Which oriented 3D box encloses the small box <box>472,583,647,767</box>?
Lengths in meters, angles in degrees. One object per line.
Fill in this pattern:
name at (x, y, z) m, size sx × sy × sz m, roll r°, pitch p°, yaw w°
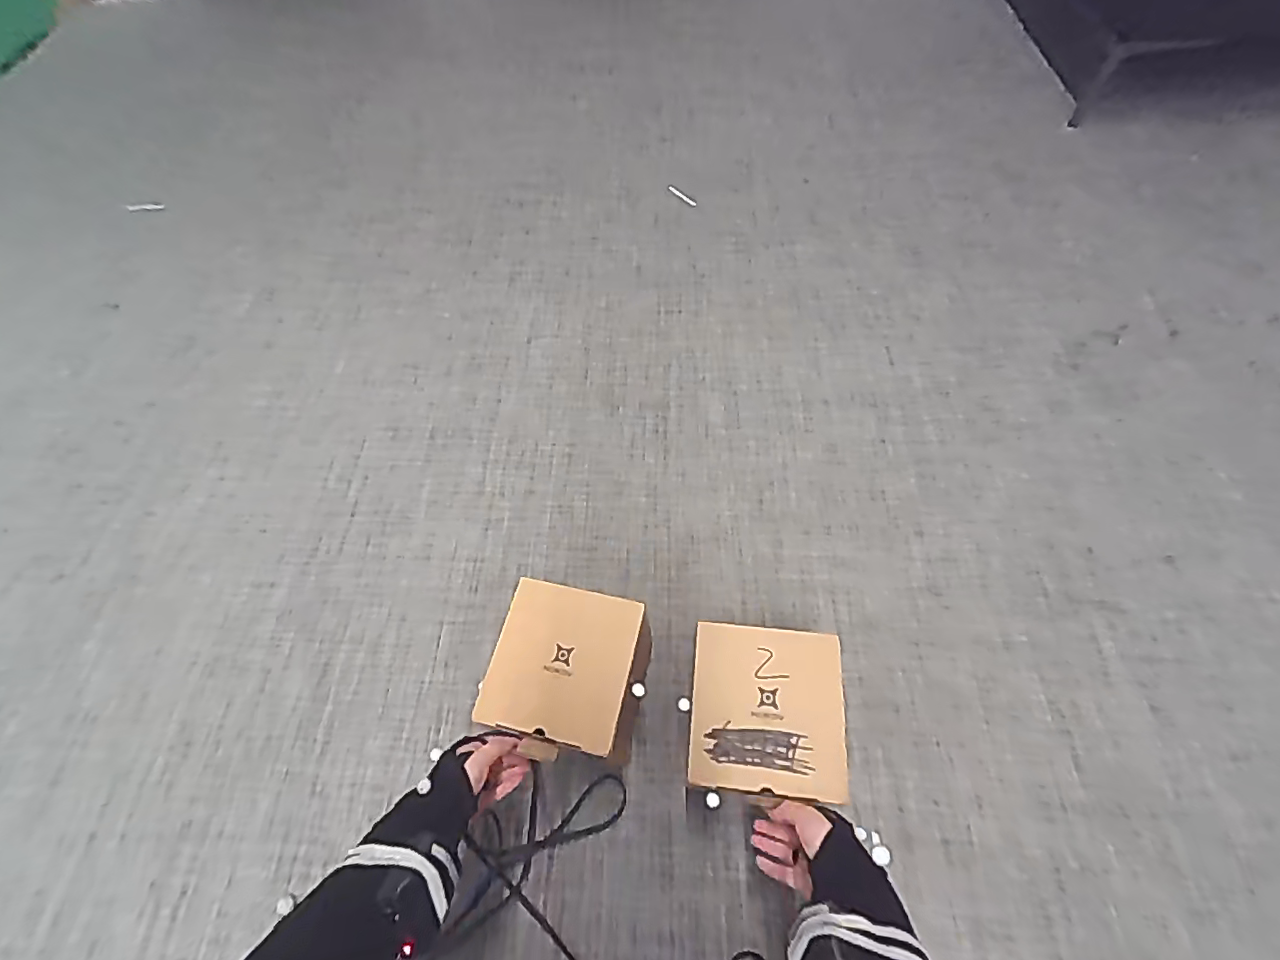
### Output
small box at (-0.089, 0.259, 0.707) m, size 0.168 × 0.176 × 0.179 m, roll 10°, pitch 62°, yaw 10°
